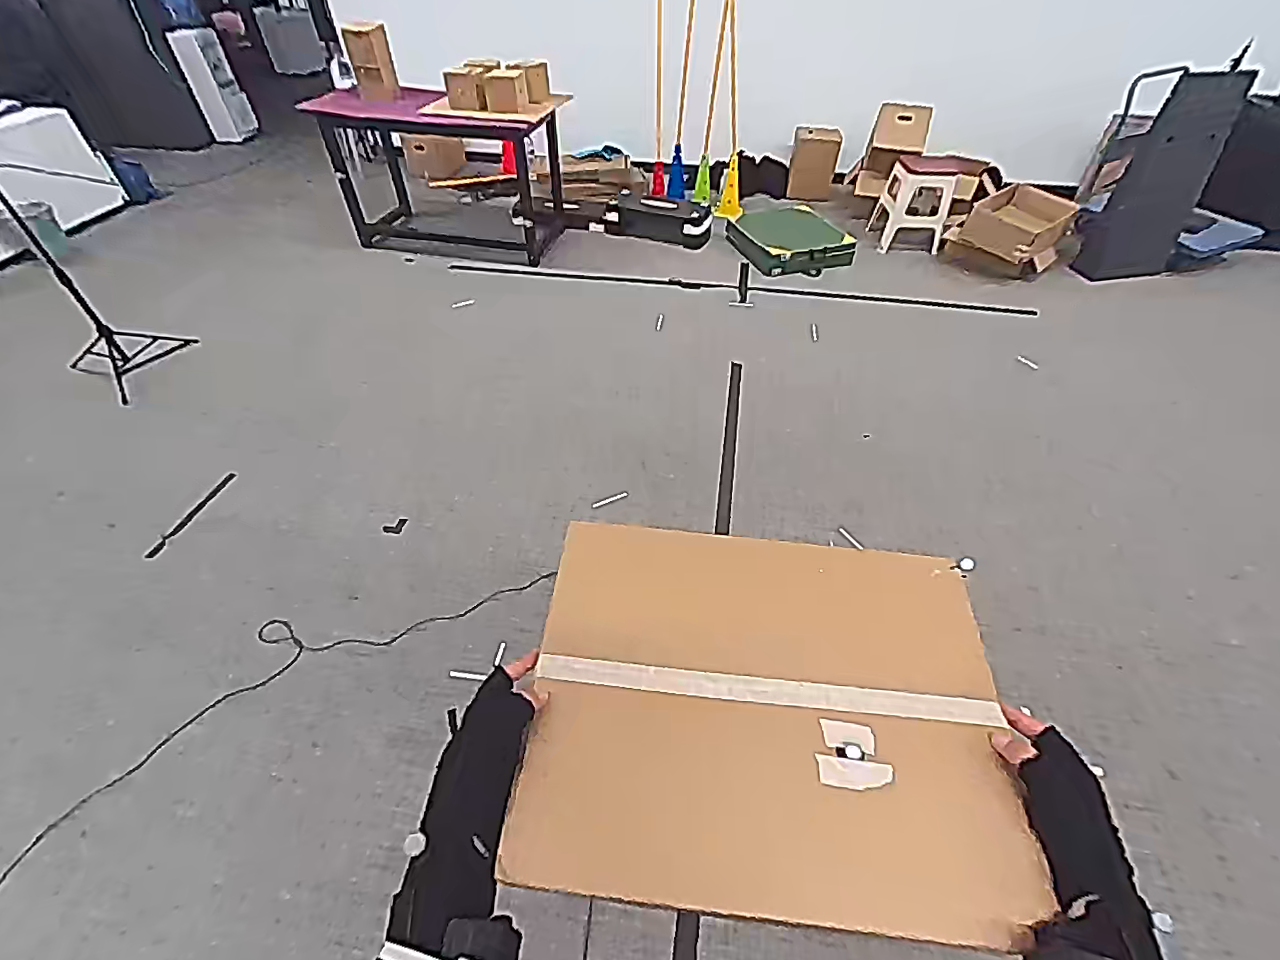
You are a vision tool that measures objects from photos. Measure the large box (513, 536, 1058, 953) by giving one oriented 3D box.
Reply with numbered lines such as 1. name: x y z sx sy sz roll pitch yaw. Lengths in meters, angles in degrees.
1. large box: 0.111 0.287 0.597 0.408 0.320 0.320 6 53 3
